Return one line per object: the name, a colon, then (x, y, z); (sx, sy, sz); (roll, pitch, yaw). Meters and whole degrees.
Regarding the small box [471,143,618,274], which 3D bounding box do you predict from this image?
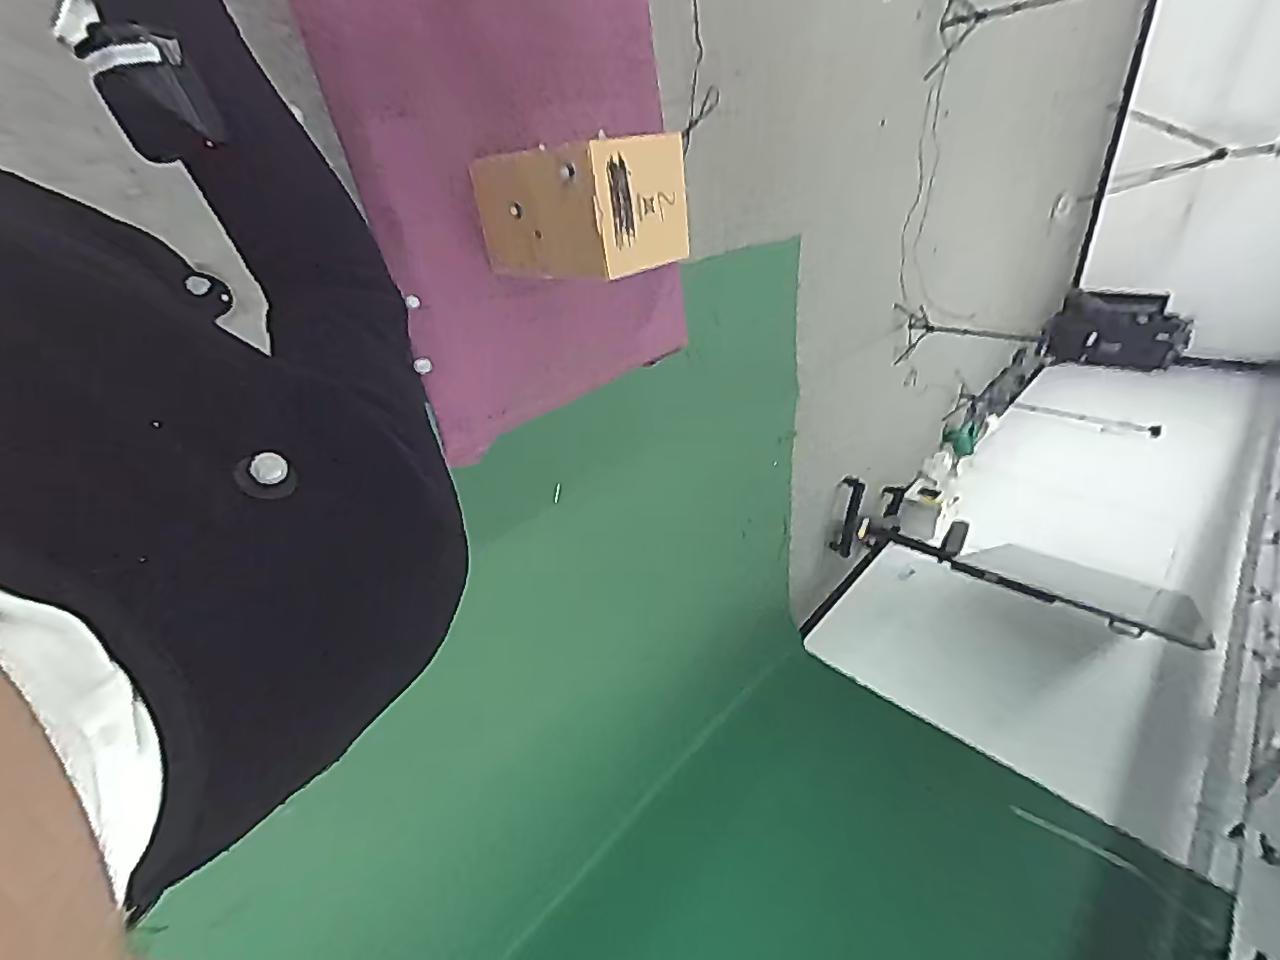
small box: (-0.162, -0.458, 0.920); (0.168, 0.176, 0.179); (-31, 128, -34)
